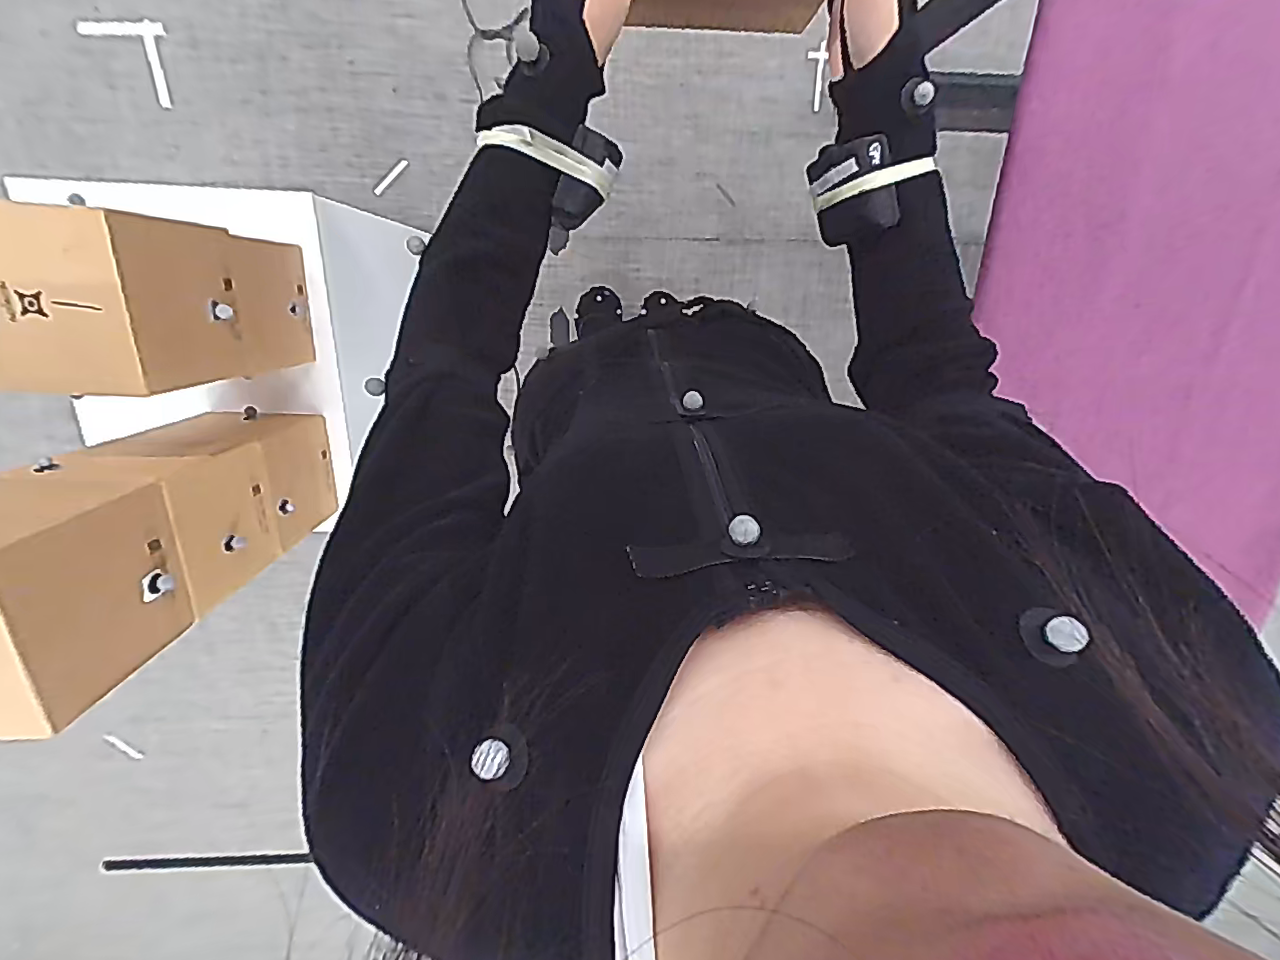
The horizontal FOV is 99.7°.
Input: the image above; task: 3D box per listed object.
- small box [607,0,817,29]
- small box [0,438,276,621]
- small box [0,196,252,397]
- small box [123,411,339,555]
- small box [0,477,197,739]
[{"bbox_3d":[0.063,-0.436,0.359,0.179,0.176,0.168,1,110,-2],"label":"small box"},{"bbox_3d":[-0.562,0.049,0.630,0.179,0.176,0.168,0,109,-3],"label":"small box"},{"bbox_3d":[-0.545,-0.184,0.548,0.179,0.176,0.168,2,110,-6],"label":"small box"},{"bbox_3d":[-0.573,-0.003,0.785,0.179,0.176,0.168,1,109,-3],"label":"small box"},{"bbox_3d":[-0.554,0.101,0.477,0.179,0.176,0.168,-1,110,-4],"label":"small box"}]
